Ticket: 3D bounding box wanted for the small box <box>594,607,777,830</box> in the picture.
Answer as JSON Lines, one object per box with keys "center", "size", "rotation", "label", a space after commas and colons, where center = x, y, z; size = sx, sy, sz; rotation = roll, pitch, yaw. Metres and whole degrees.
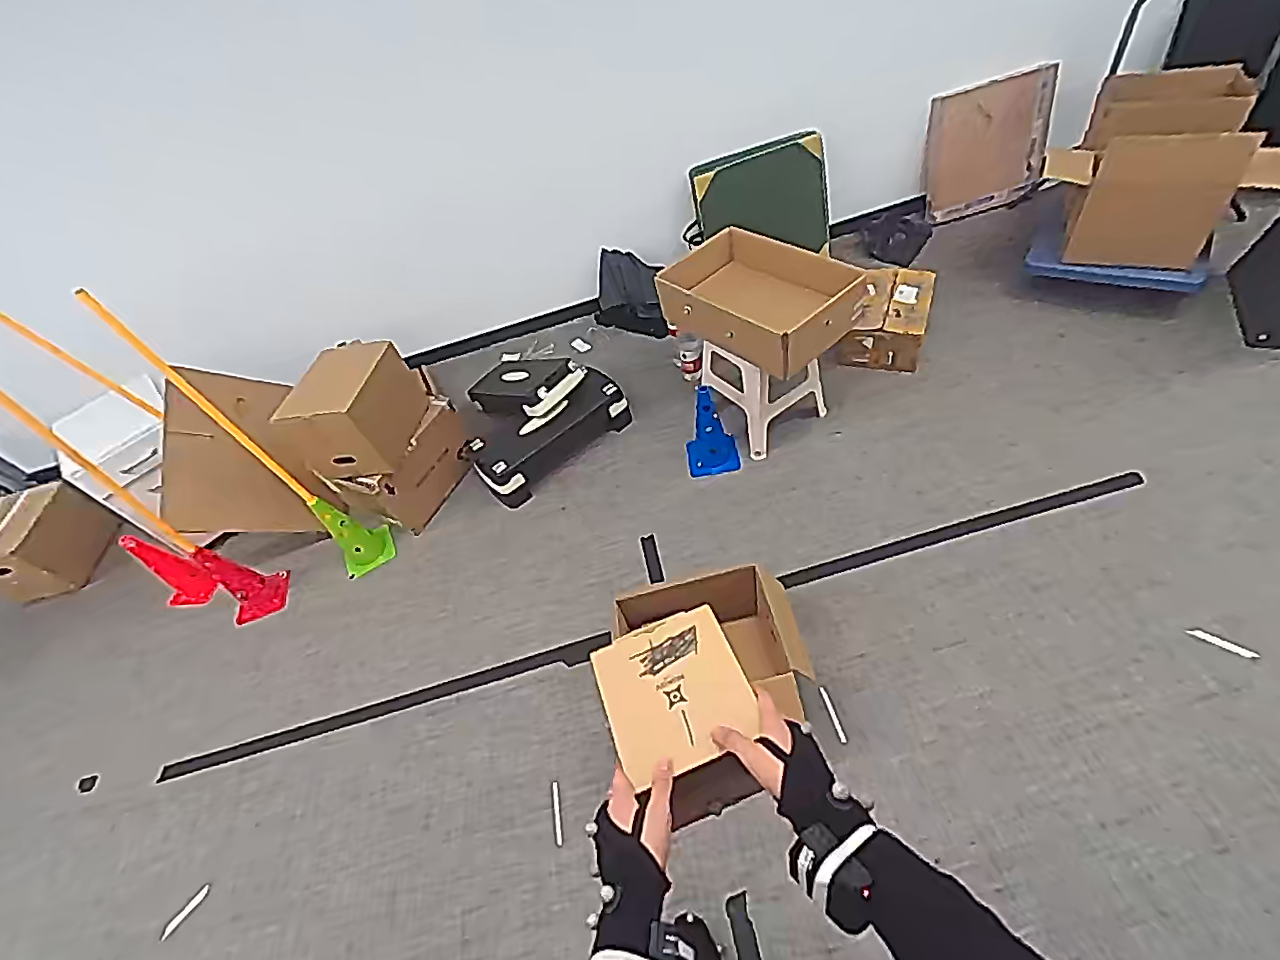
{"center": [0.058, 0.300, 0.682], "size": [0.168, 0.176, 0.179], "rotation": [-22, 43, -4], "label": "small box"}
